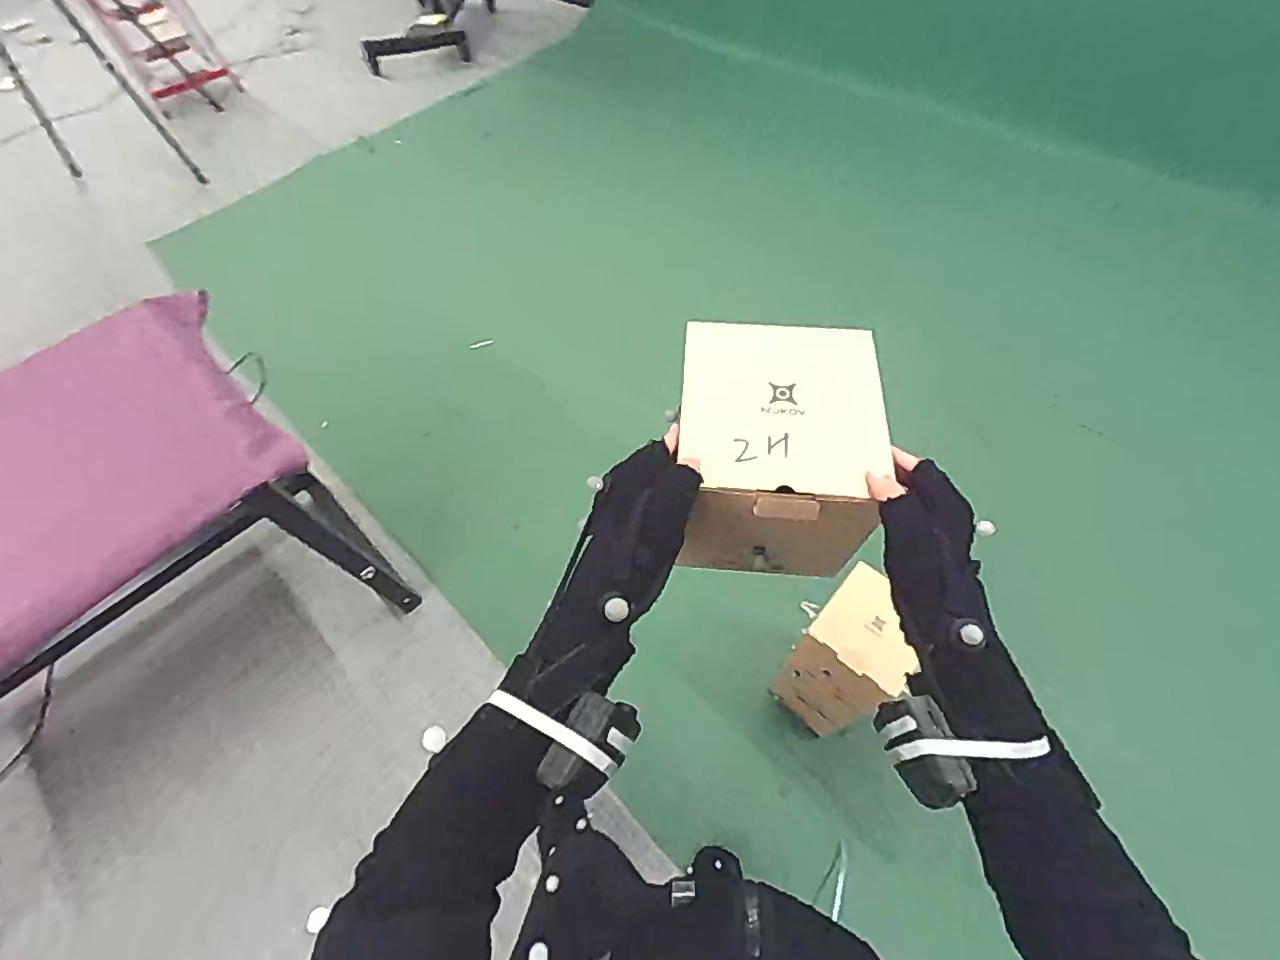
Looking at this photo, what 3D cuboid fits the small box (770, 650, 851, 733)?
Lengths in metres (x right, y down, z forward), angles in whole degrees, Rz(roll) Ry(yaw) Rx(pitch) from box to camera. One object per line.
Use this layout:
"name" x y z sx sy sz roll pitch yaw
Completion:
"small box" 0.423 0.467 1.272 0.179 0.176 0.168 -41 65 -19

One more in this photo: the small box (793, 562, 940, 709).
"small box" 0.404 0.290 0.996 0.168 0.176 0.179 37 68 23

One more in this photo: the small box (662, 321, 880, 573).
"small box" 0.109 -0.027 0.521 0.168 0.176 0.179 3 61 4
